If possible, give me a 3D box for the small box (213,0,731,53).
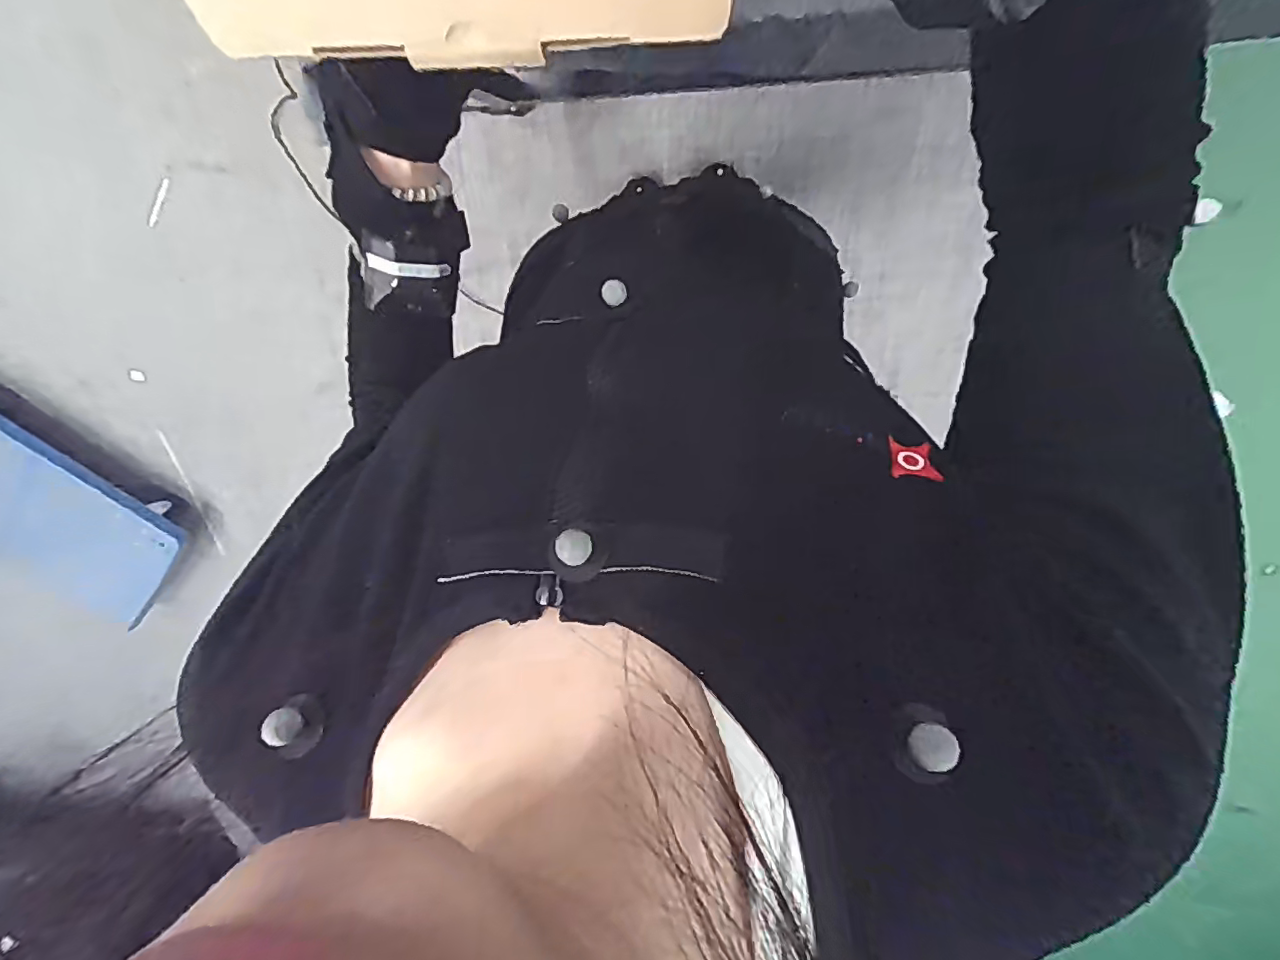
[{"bbox_3d":[-0.053,-0.254,0.139,0.168,0.176,0.179,-1,152,1],"label":"small box"}]
